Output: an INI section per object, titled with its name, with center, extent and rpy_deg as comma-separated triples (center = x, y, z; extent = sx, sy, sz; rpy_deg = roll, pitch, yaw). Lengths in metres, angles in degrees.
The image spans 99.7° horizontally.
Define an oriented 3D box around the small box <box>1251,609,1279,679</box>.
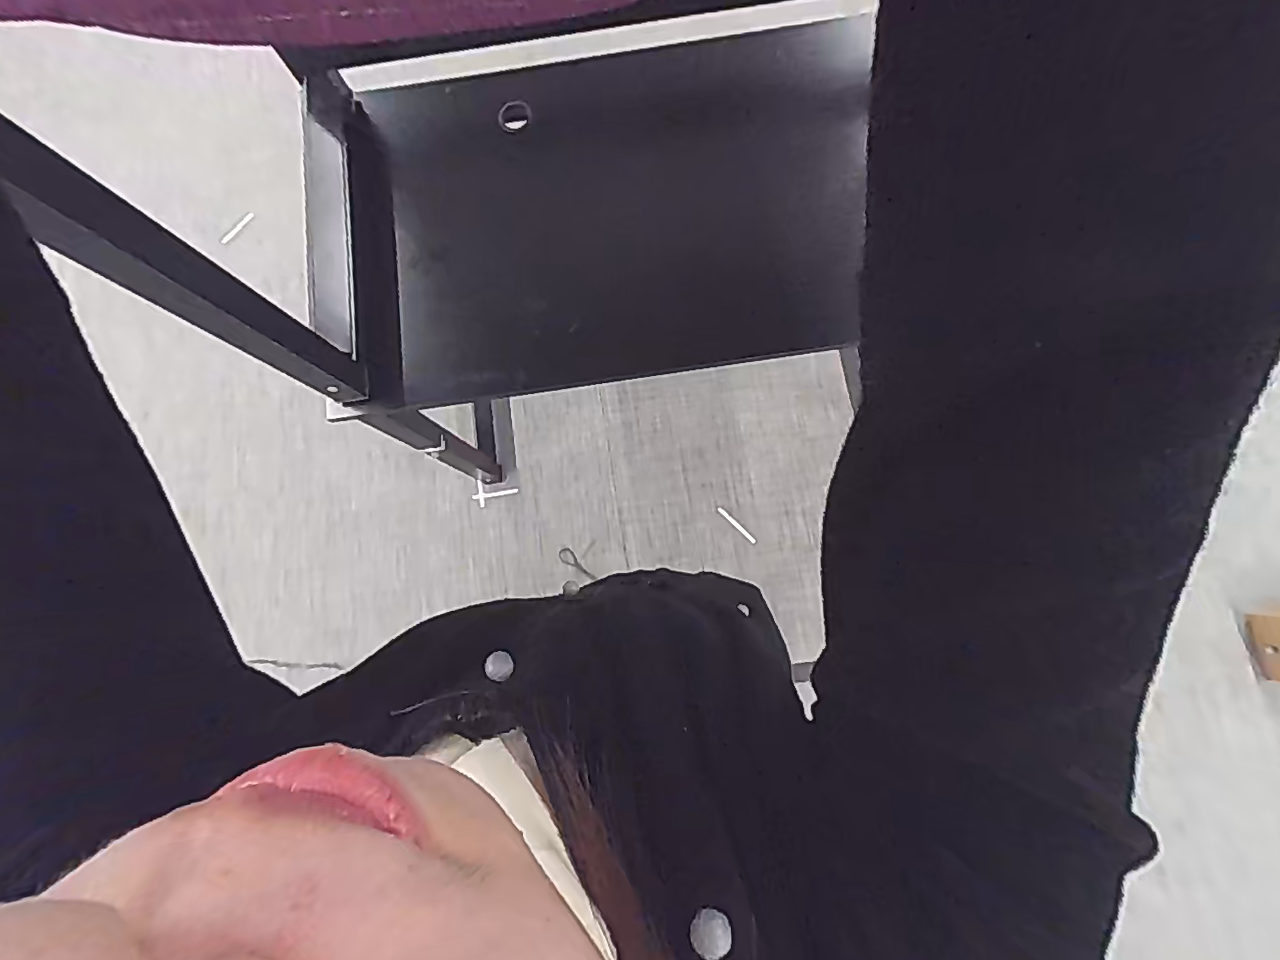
[small box]
center = 1.678, 0.411, 1.319
extent = 0.168, 0.176, 0.179
rpy_deg = -9, 81, 1
